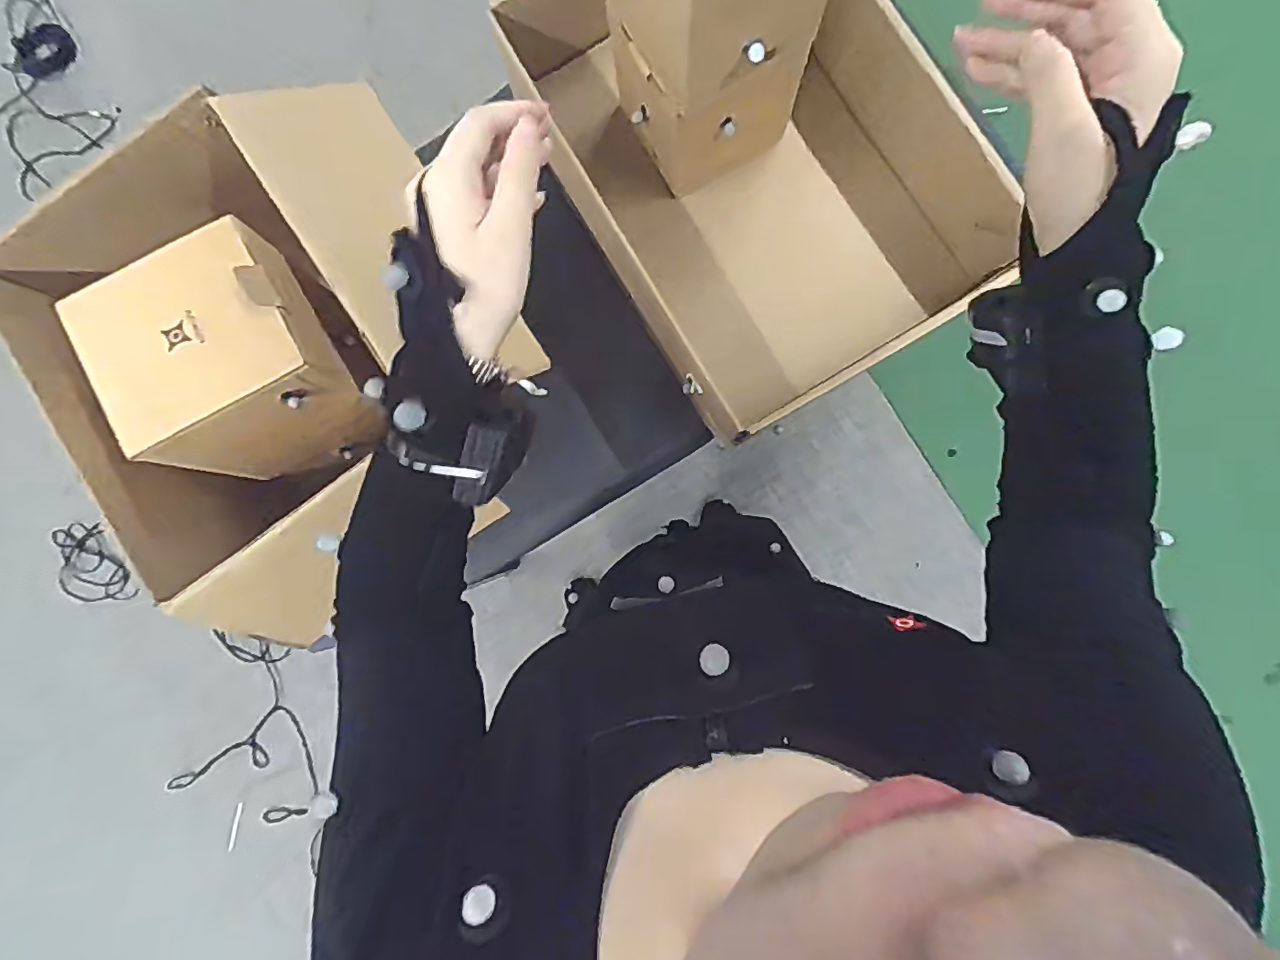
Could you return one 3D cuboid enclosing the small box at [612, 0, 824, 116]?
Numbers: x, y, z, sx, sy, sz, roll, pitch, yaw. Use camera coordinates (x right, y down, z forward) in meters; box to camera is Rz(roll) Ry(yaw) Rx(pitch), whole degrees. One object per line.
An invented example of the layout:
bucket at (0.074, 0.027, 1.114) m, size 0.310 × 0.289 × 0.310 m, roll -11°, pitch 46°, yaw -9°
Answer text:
small box at (0.071, -0.509, 0.517) m, size 0.168 × 0.176 × 0.179 m, roll -30°, pitch 87°, yaw 2°
